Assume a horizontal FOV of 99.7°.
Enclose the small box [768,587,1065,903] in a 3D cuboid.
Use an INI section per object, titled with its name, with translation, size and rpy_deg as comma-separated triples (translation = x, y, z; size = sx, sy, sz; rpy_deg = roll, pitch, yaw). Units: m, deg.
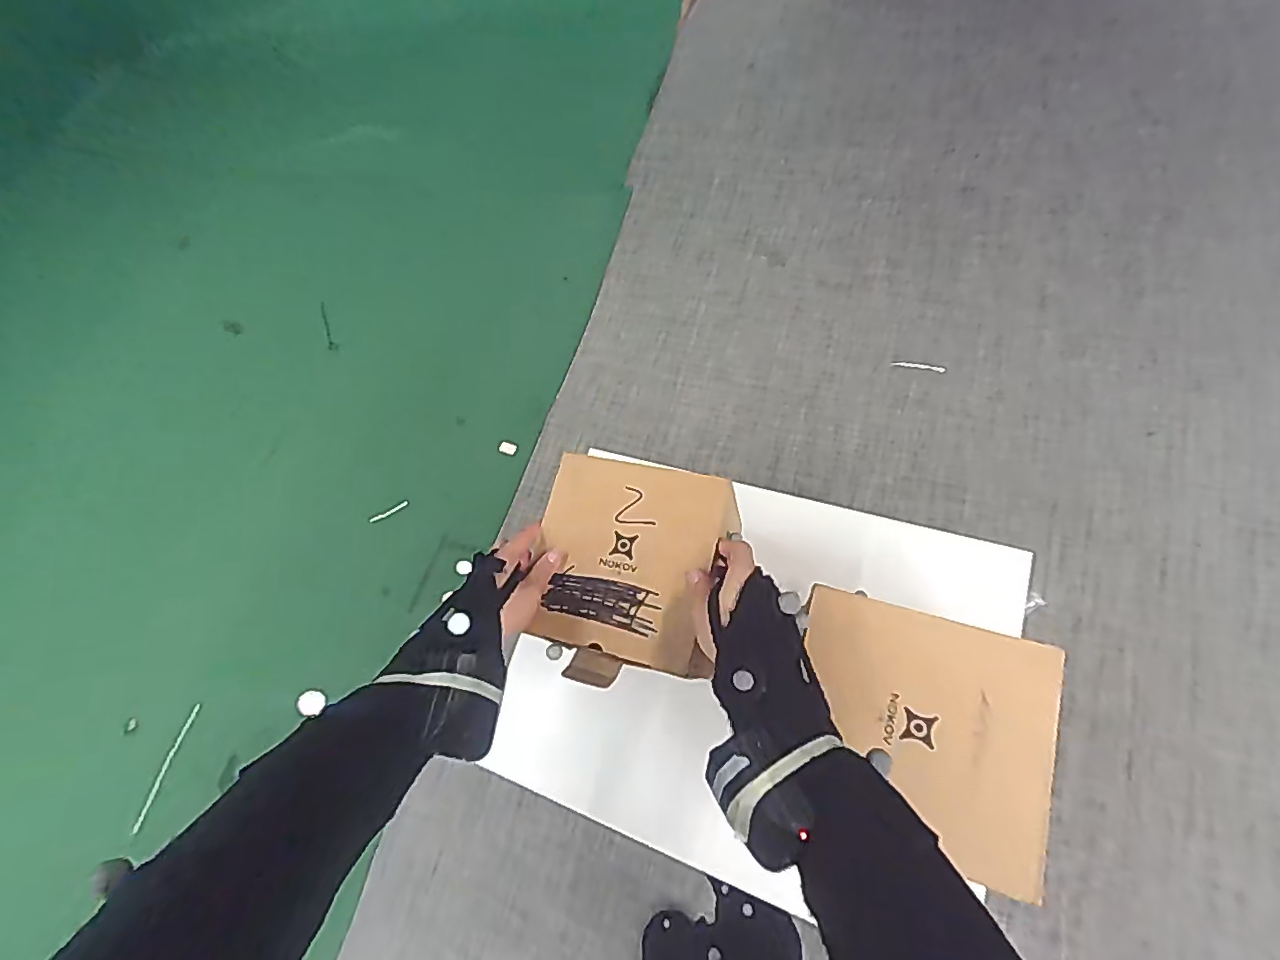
[small box]
translation = 0.215, 0.203, 0.461
size = 0.179, 0.176, 0.168
rpy_deg = 12, 75, 18
